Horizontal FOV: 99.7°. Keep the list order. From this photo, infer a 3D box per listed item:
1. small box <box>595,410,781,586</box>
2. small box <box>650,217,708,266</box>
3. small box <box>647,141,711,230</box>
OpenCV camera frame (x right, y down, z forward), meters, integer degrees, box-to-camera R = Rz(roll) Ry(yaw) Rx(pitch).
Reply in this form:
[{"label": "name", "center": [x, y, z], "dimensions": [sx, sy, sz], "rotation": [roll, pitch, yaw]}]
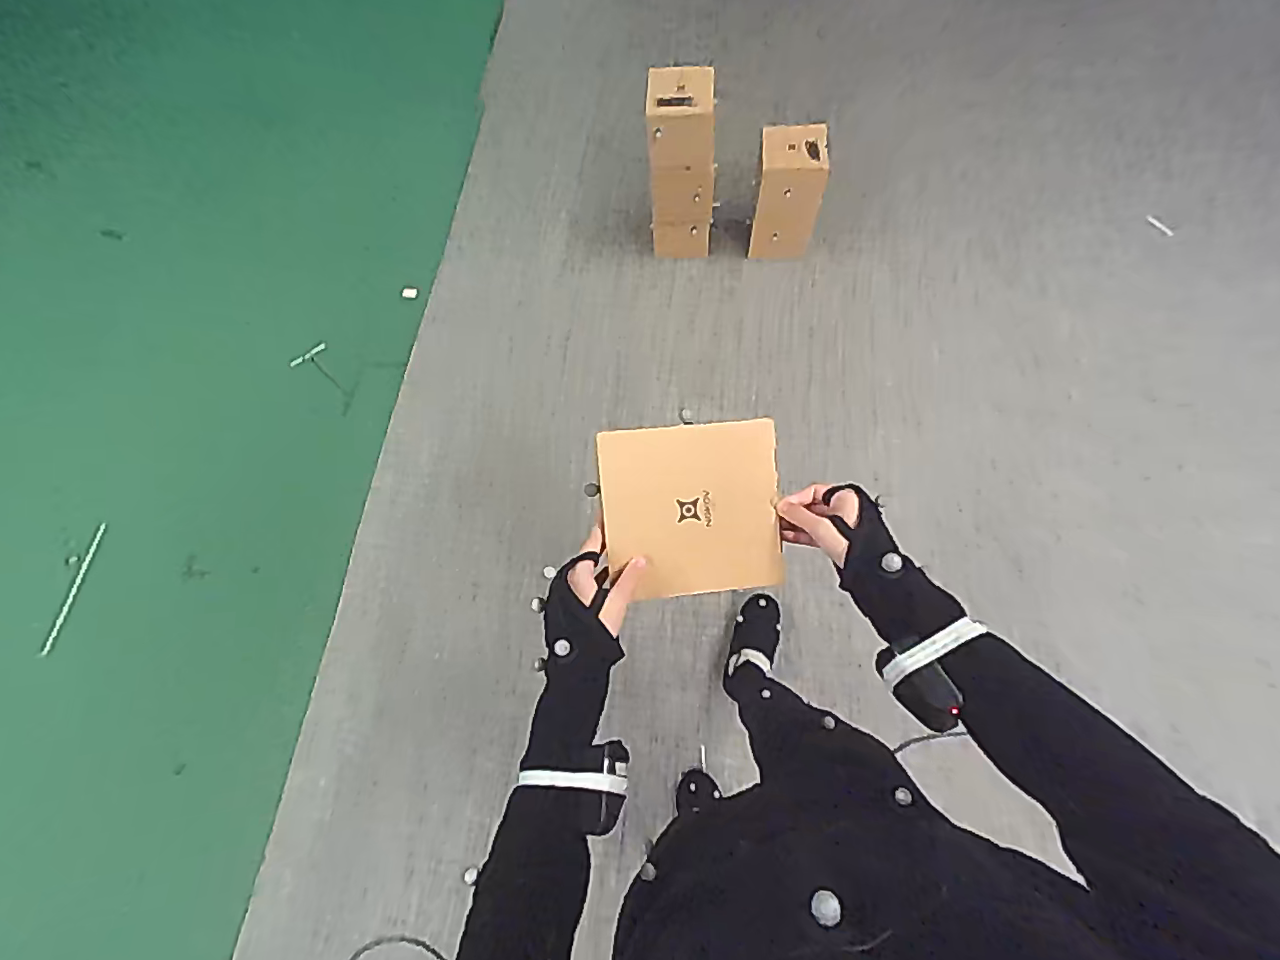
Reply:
[{"label": "small box", "center": [0.042, 0.015, 0.615], "dimensions": [0.179, 0.176, 0.168], "rotation": [-6, 93, -6]}, {"label": "small box", "center": [0.128, -0.815, 1.748], "dimensions": [0.179, 0.176, 0.168], "rotation": [0, 69, 6]}, {"label": "small box", "center": [0.116, -0.862, 1.592], "dimensions": [0.179, 0.176, 0.168], "rotation": [0, 69, 6]}]
